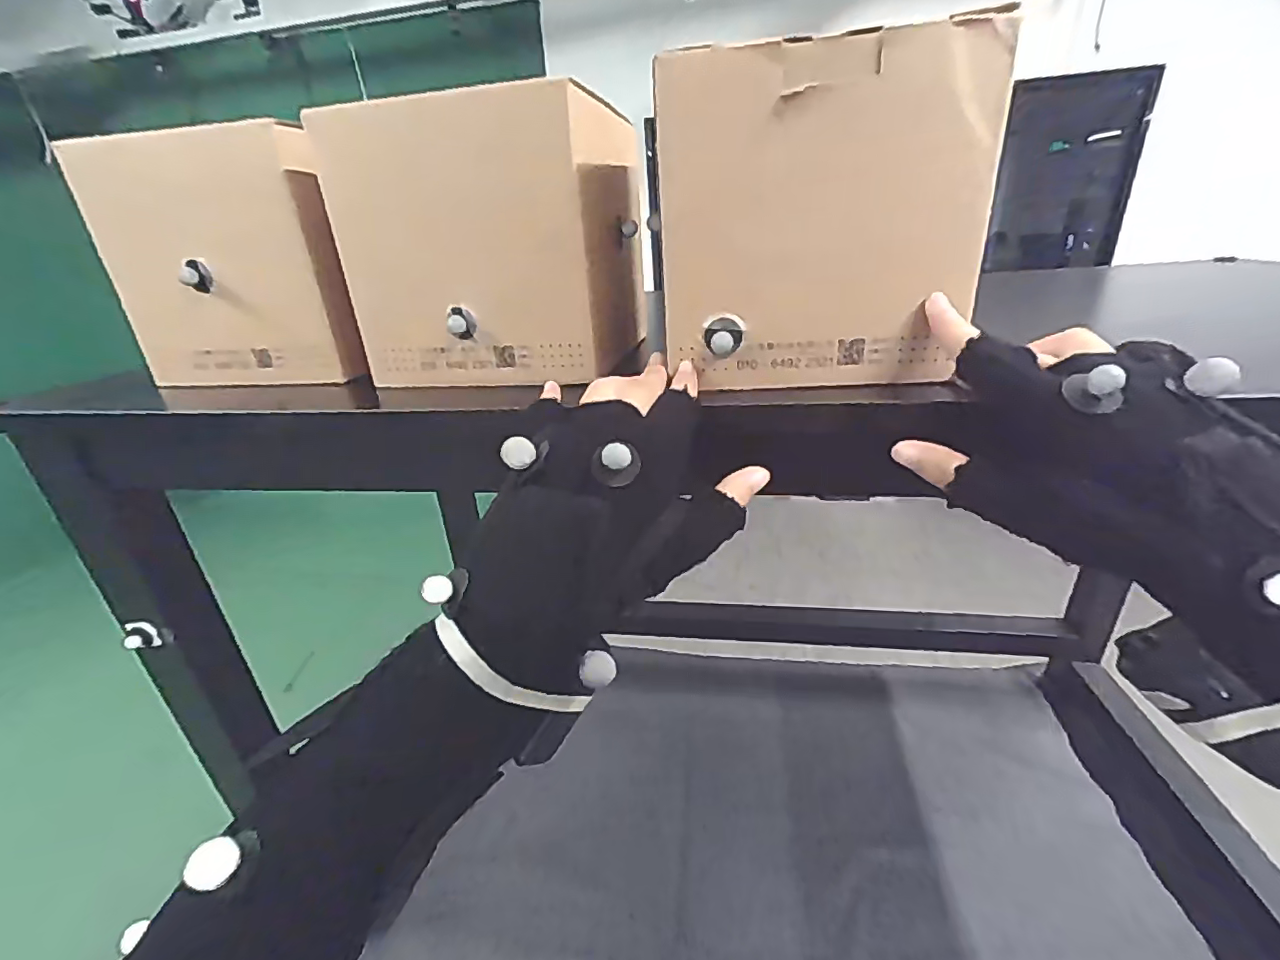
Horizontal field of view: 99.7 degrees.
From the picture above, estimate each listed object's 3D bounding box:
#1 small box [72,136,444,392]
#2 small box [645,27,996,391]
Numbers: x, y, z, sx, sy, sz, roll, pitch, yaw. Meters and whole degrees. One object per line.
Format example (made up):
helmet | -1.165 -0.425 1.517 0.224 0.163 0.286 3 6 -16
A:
small box | -0.289 -0.175 0.461 0.168 0.176 0.179 1 24 9
small box | 0.099 -0.158 0.361 0.168 0.176 0.179 -1 23 8
